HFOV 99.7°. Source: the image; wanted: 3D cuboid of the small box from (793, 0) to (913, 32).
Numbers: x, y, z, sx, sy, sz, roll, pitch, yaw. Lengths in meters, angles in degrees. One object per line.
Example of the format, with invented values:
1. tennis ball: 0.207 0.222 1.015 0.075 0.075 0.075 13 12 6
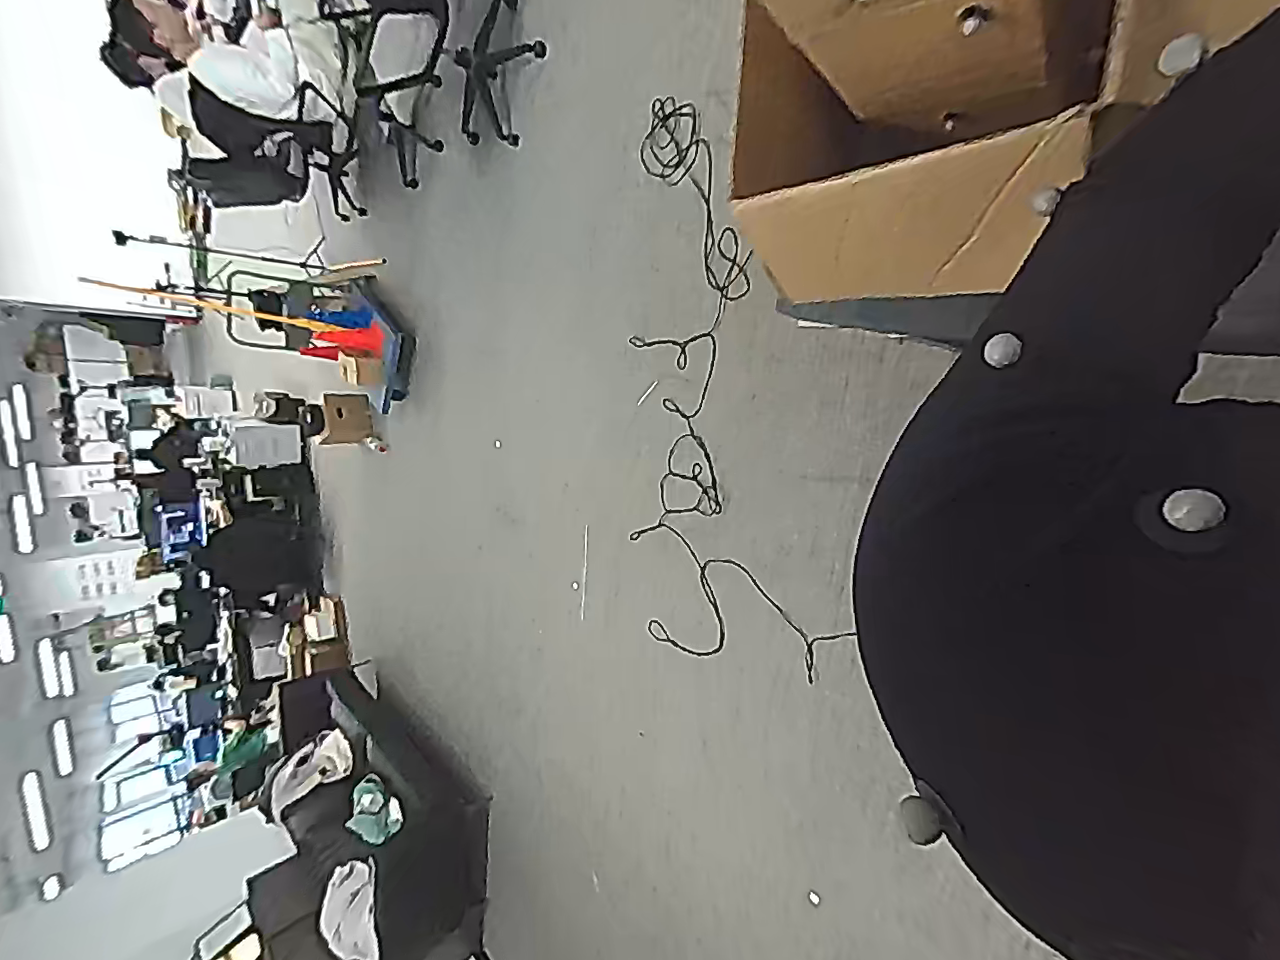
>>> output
1. small box: 0.156 -0.437 0.330 0.168 0.176 0.179 13 104 38
